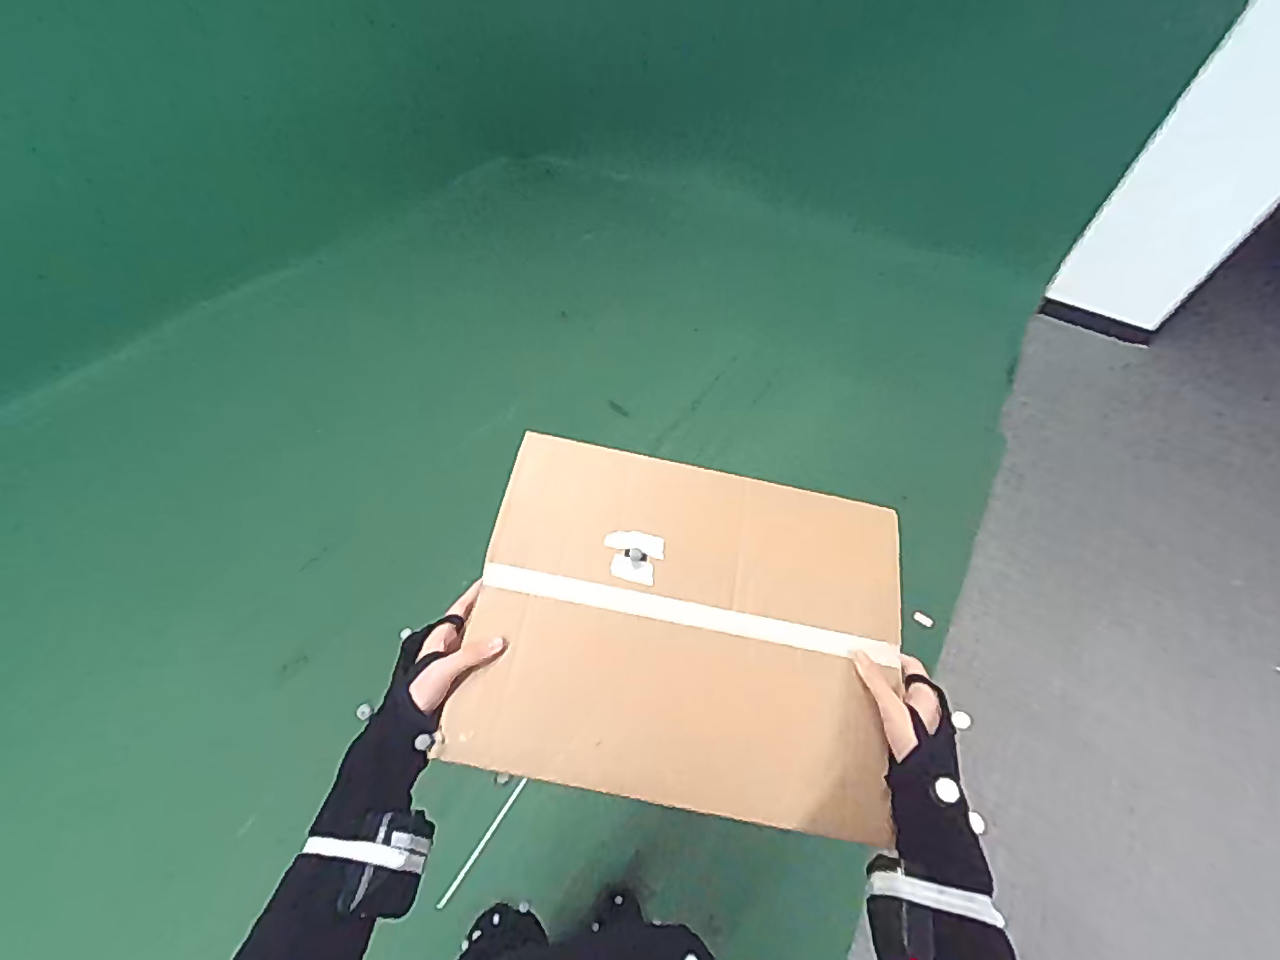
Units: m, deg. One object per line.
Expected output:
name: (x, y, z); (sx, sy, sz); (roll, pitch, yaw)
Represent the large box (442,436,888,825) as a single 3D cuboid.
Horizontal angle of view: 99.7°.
large box: (0.036, 0.181, 0.668); (0.408, 0.320, 0.320); (12, 68, 0)
